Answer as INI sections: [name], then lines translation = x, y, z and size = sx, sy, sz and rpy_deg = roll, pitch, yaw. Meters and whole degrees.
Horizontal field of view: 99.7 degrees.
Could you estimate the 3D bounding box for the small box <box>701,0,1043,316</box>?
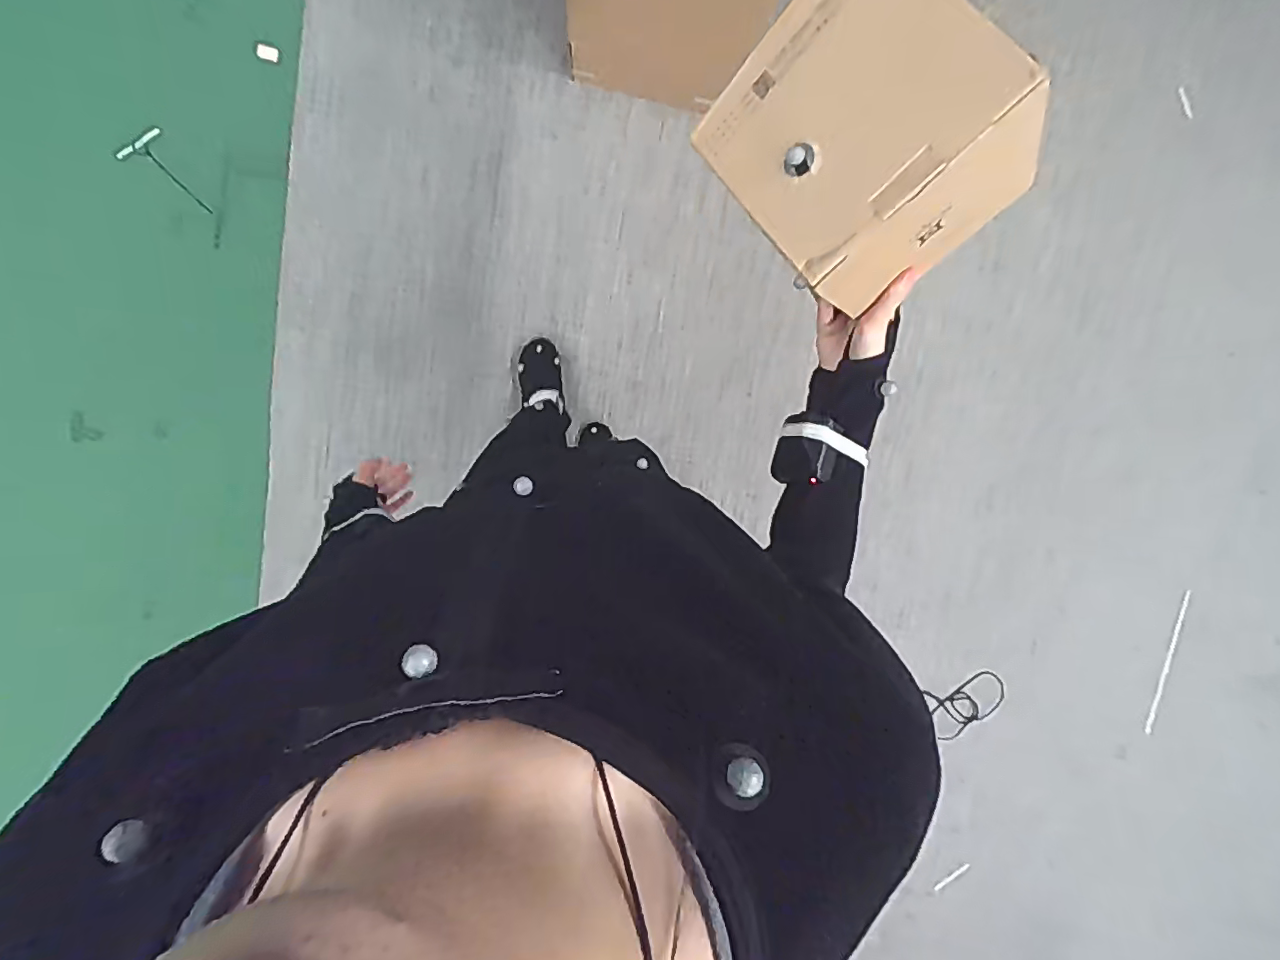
[small box]
translation = 0.179, -0.264, 0.435
size = 0.168, 0.179, 0.176
rpy_deg = -40, 74, 30
